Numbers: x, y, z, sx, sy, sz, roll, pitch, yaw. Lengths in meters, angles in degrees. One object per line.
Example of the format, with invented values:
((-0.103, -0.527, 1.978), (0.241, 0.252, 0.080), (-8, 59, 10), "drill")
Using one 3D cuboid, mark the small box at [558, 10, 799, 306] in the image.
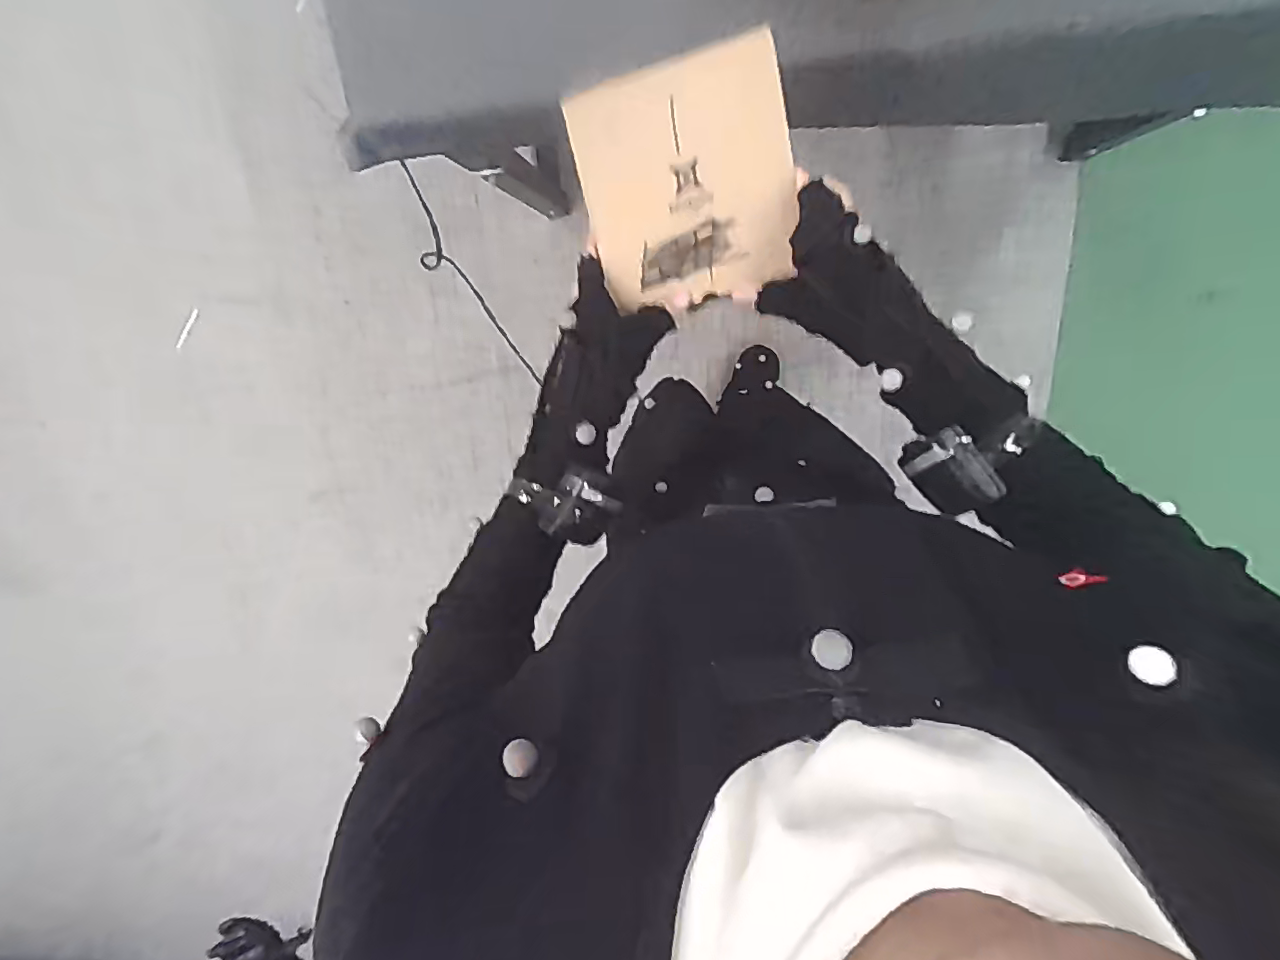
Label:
((0.043, -0.268, 0.499), (0.168, 0.176, 0.179), (-10, 107, 10), "small box")
